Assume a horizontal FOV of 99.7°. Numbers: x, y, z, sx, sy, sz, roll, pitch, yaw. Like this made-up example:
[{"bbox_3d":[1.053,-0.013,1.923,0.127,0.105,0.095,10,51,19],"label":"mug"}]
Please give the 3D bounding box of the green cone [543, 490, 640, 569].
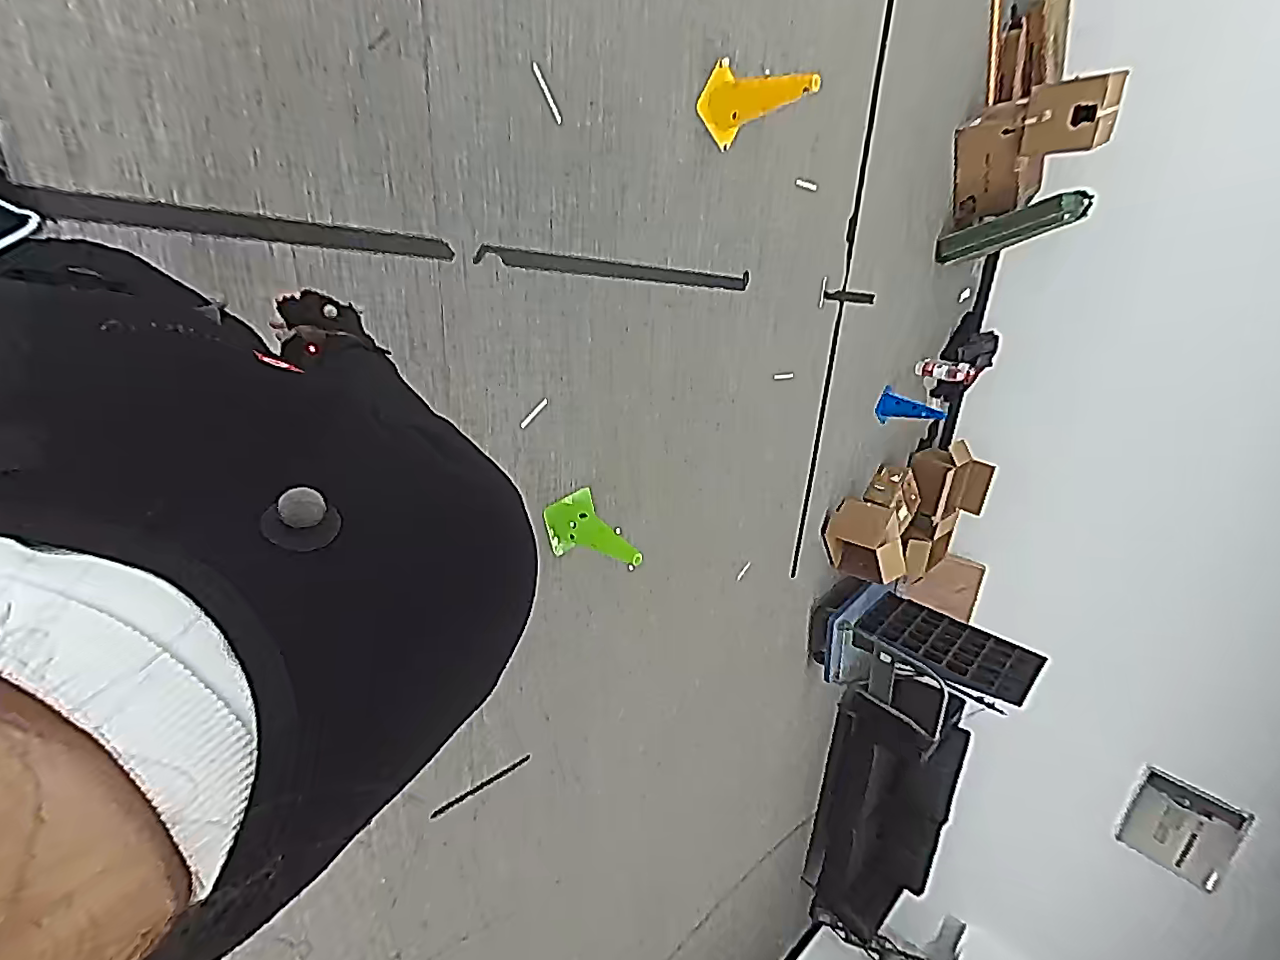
[{"bbox_3d":[-0.128,0.200,1.787,0.202,0.368,0.200,-30,125,-32],"label":"green cone"}]
